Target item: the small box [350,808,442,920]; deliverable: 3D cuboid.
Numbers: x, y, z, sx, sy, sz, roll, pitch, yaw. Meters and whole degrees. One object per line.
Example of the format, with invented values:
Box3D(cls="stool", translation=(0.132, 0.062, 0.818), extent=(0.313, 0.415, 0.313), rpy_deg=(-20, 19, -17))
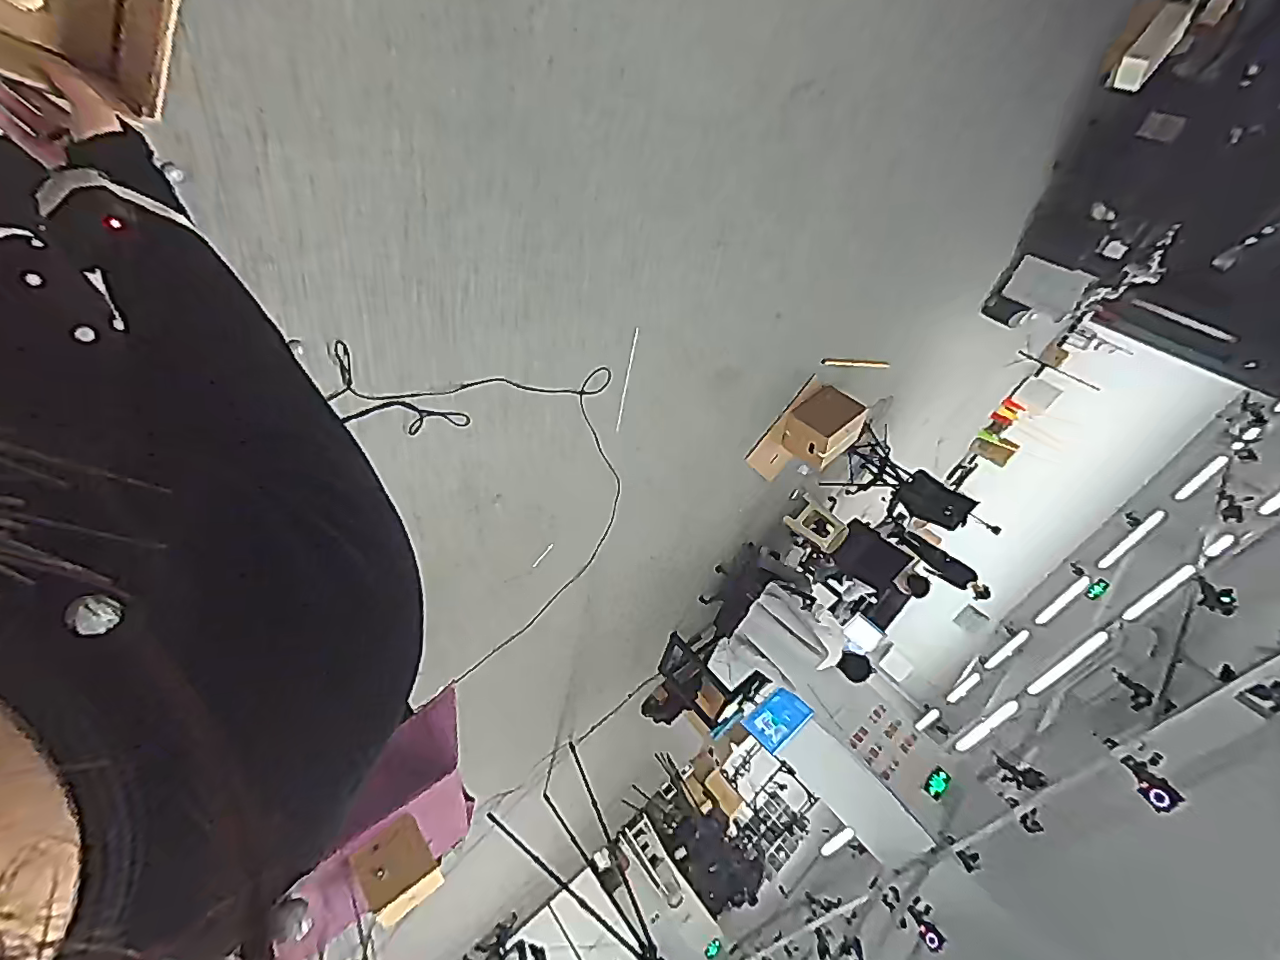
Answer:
Box3D(cls="small box", translation=(-0.657, 1.029, 1.460), extent=(0.168, 0.176, 0.179), rpy_deg=(-26, 145, -33))
